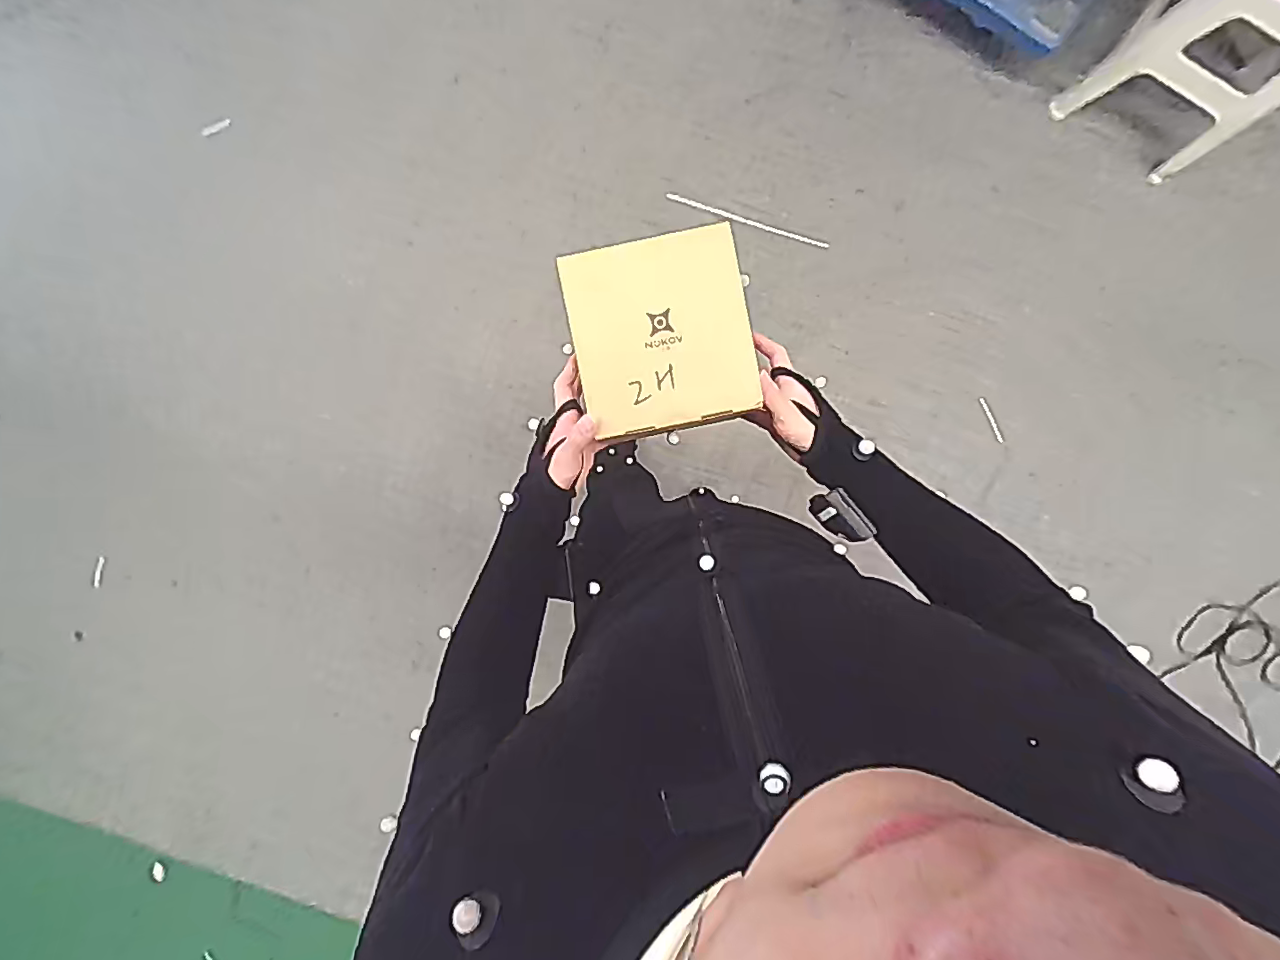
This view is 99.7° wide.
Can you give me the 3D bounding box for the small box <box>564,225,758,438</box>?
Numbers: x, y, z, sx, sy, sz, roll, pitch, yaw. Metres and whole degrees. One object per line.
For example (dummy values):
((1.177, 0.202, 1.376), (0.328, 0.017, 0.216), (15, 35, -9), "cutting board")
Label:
((0.020, -0.146, 0.592), (0.168, 0.176, 0.179), (-10, 92, 1), "small box")
